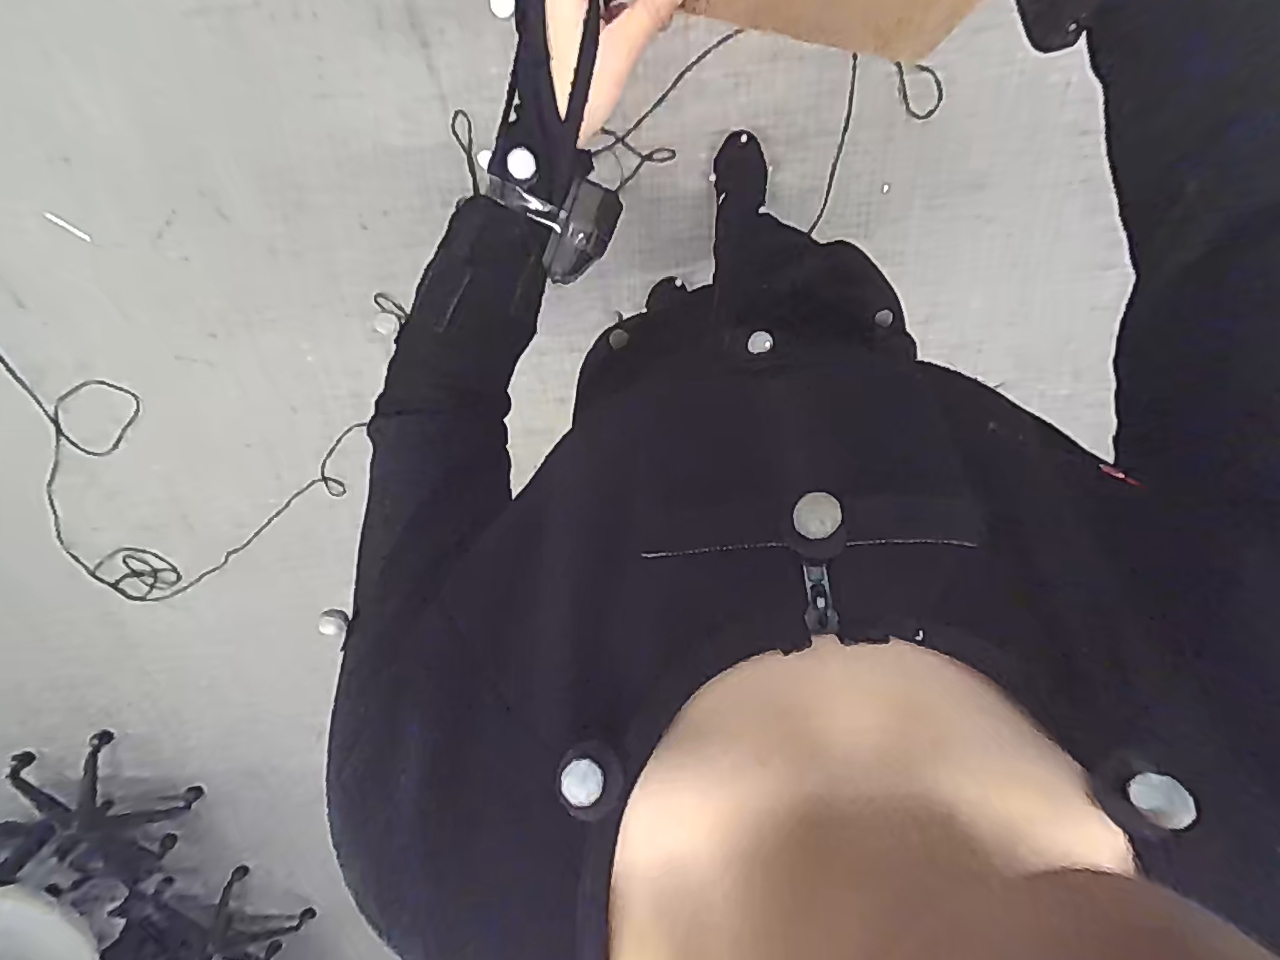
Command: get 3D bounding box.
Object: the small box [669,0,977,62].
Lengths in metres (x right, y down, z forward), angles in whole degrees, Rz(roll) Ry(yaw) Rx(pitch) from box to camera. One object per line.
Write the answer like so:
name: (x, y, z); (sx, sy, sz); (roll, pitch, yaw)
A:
small box: (0.111, -0.345, 0.243); (0.176, 0.168, 0.179); (5, 96, -7)
